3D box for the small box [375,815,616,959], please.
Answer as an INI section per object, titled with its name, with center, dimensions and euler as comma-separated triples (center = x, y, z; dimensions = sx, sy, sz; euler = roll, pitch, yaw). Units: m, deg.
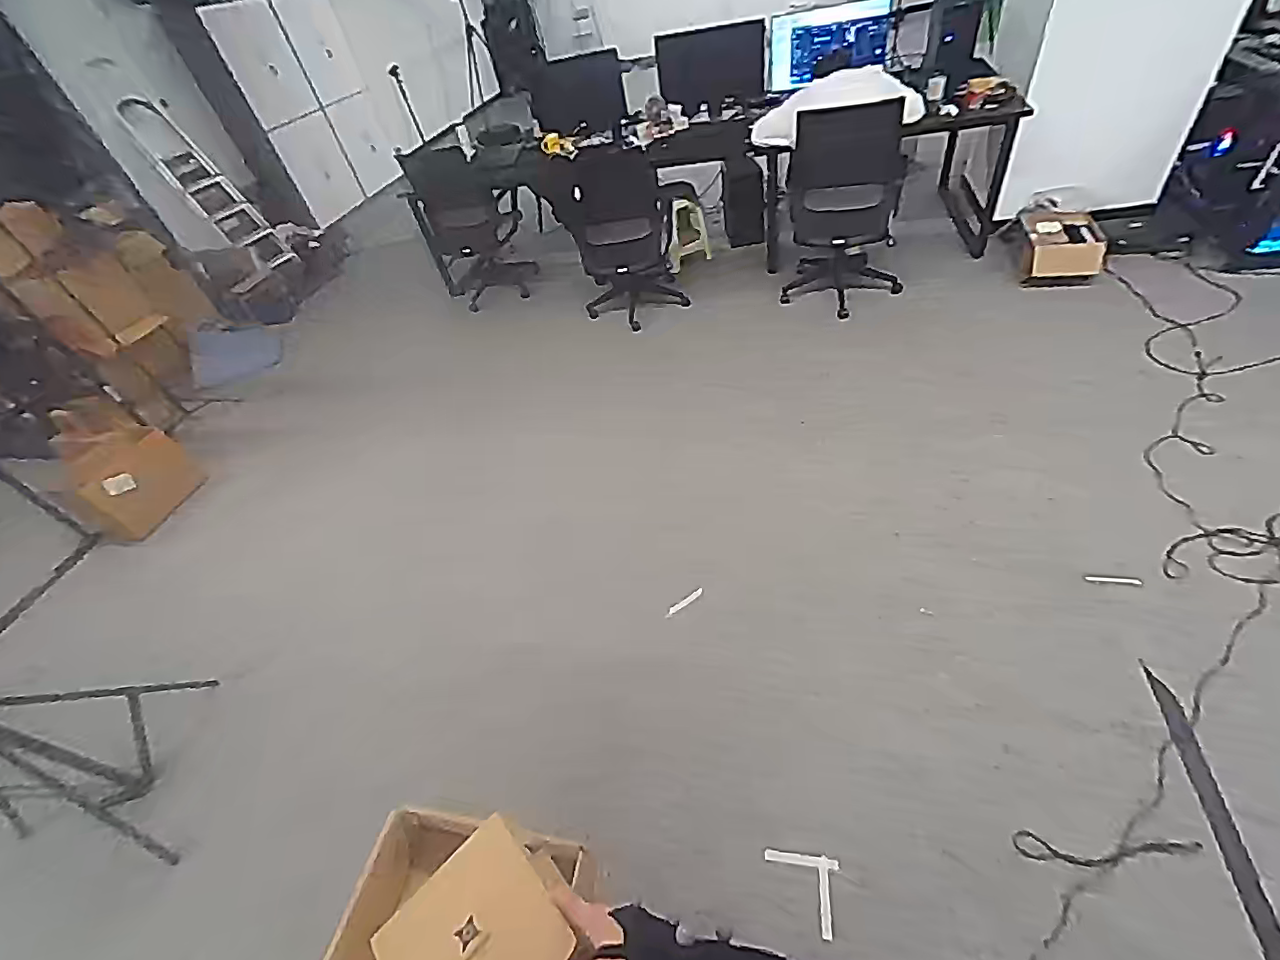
[small box]
center = -0.145, 0.523, 0.588
dimensions = 0.168, 0.176, 0.179
euler = -39, 43, -24
